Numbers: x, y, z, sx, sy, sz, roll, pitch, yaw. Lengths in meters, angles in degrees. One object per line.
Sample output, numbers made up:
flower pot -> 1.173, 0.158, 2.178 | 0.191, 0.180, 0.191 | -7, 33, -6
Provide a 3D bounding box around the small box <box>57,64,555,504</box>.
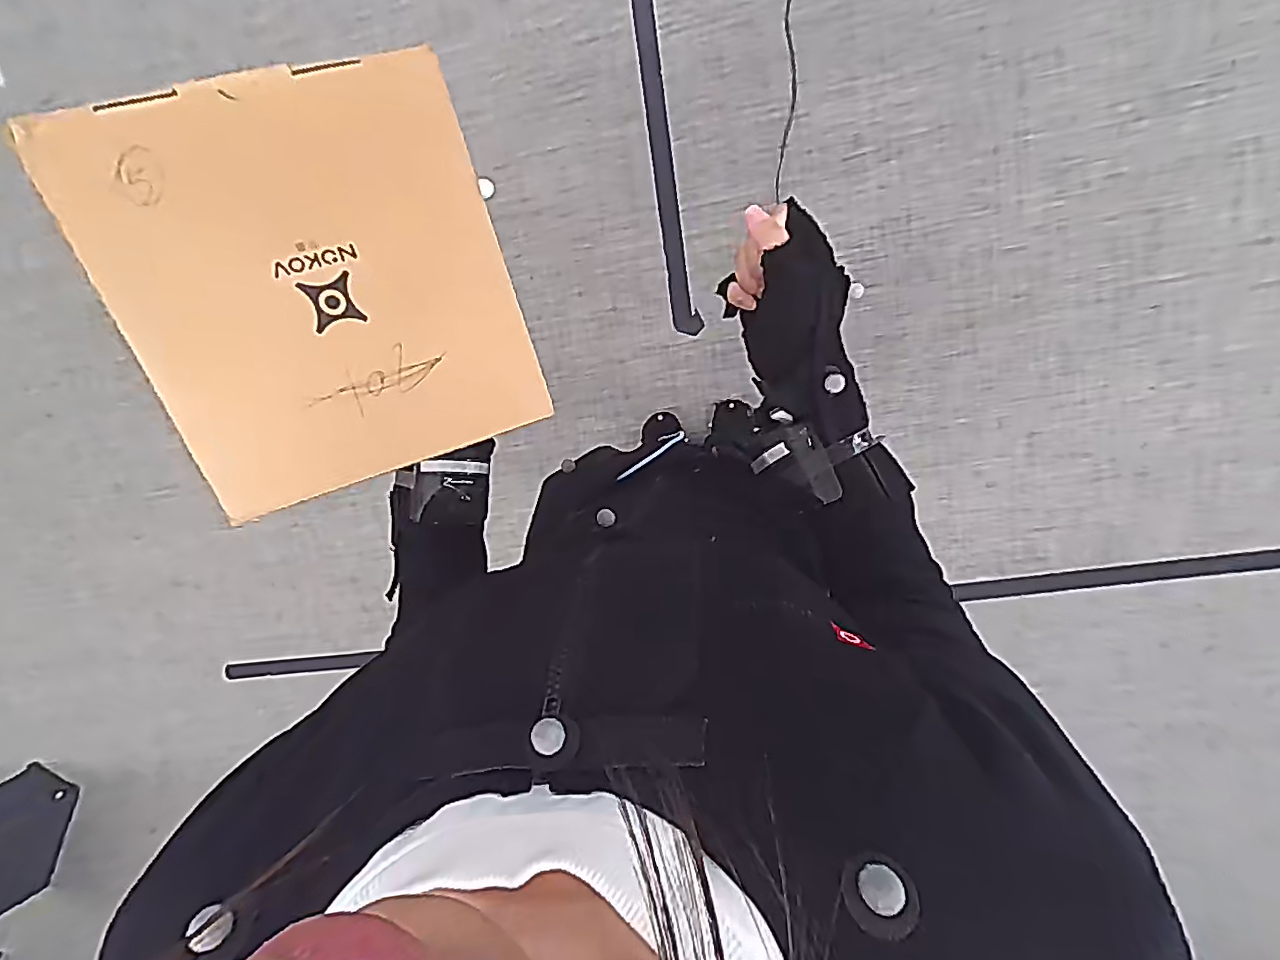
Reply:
small box -> -0.168, -0.109, 0.337 | 0.168, 0.176, 0.179 | -20, 109, -12
